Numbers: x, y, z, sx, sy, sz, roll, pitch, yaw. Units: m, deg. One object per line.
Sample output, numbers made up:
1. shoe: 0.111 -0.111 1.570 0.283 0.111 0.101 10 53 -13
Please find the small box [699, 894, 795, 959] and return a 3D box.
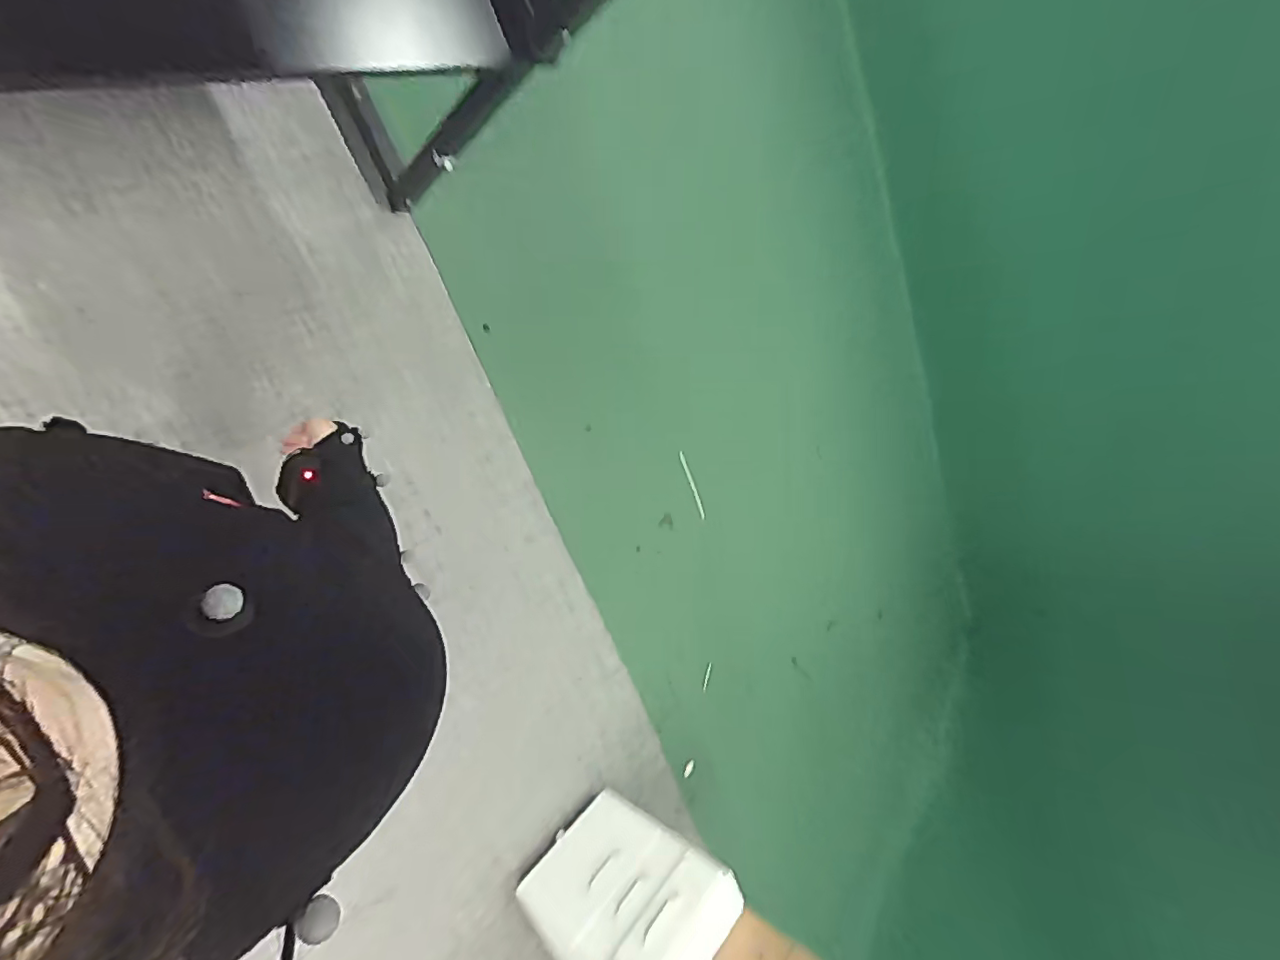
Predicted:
1. small box: 0.288 1.280 1.455 0.179 0.176 0.168 -35 113 -36
